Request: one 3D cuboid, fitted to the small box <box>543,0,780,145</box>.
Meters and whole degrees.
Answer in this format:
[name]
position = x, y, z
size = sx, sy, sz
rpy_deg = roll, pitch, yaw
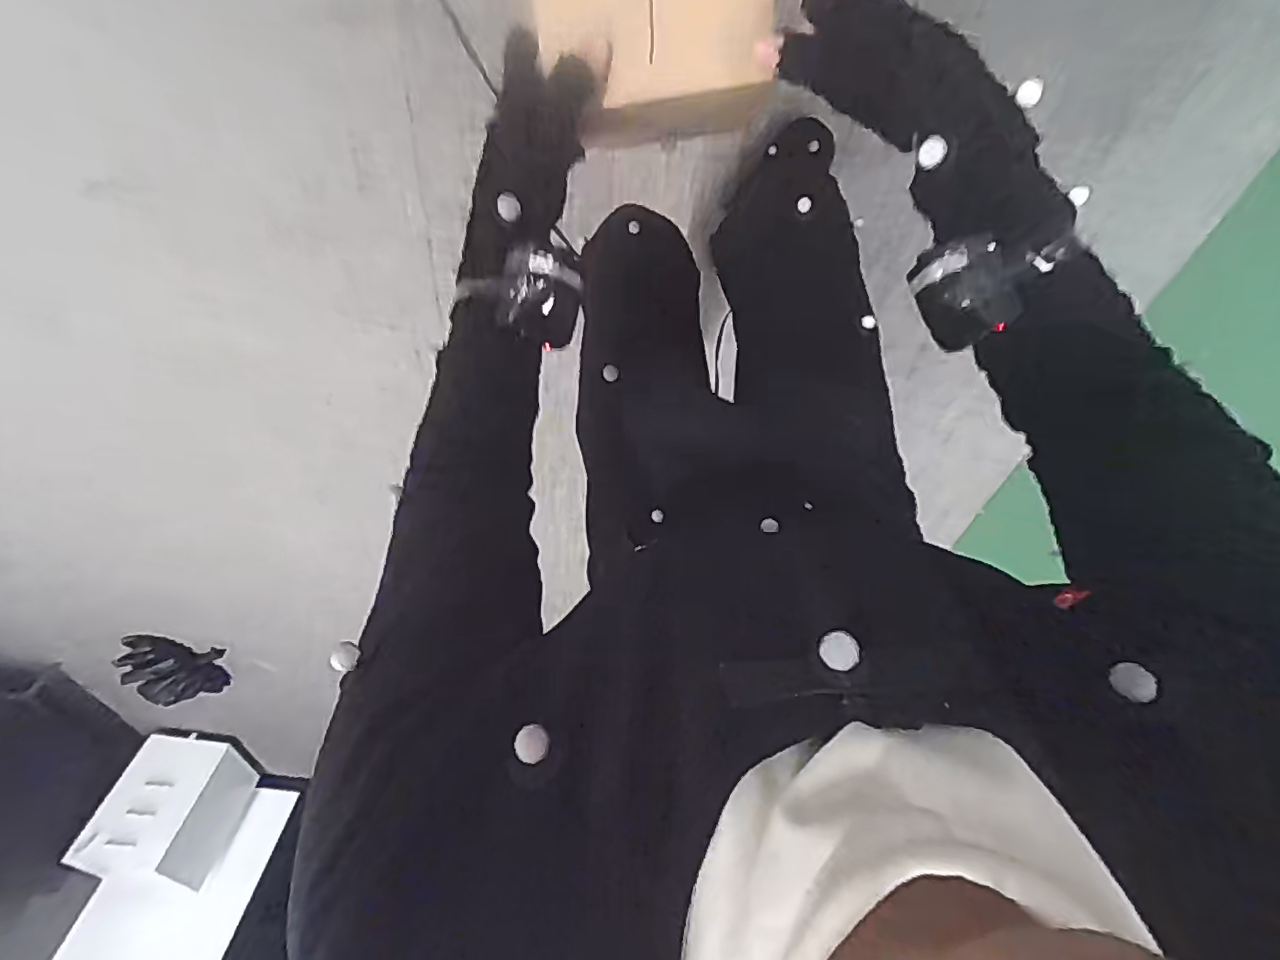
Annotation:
[small box]
position = 0.022, -0.392, 0.432
size = 0.168, 0.176, 0.179
rpy_deg = -1, 113, 11
